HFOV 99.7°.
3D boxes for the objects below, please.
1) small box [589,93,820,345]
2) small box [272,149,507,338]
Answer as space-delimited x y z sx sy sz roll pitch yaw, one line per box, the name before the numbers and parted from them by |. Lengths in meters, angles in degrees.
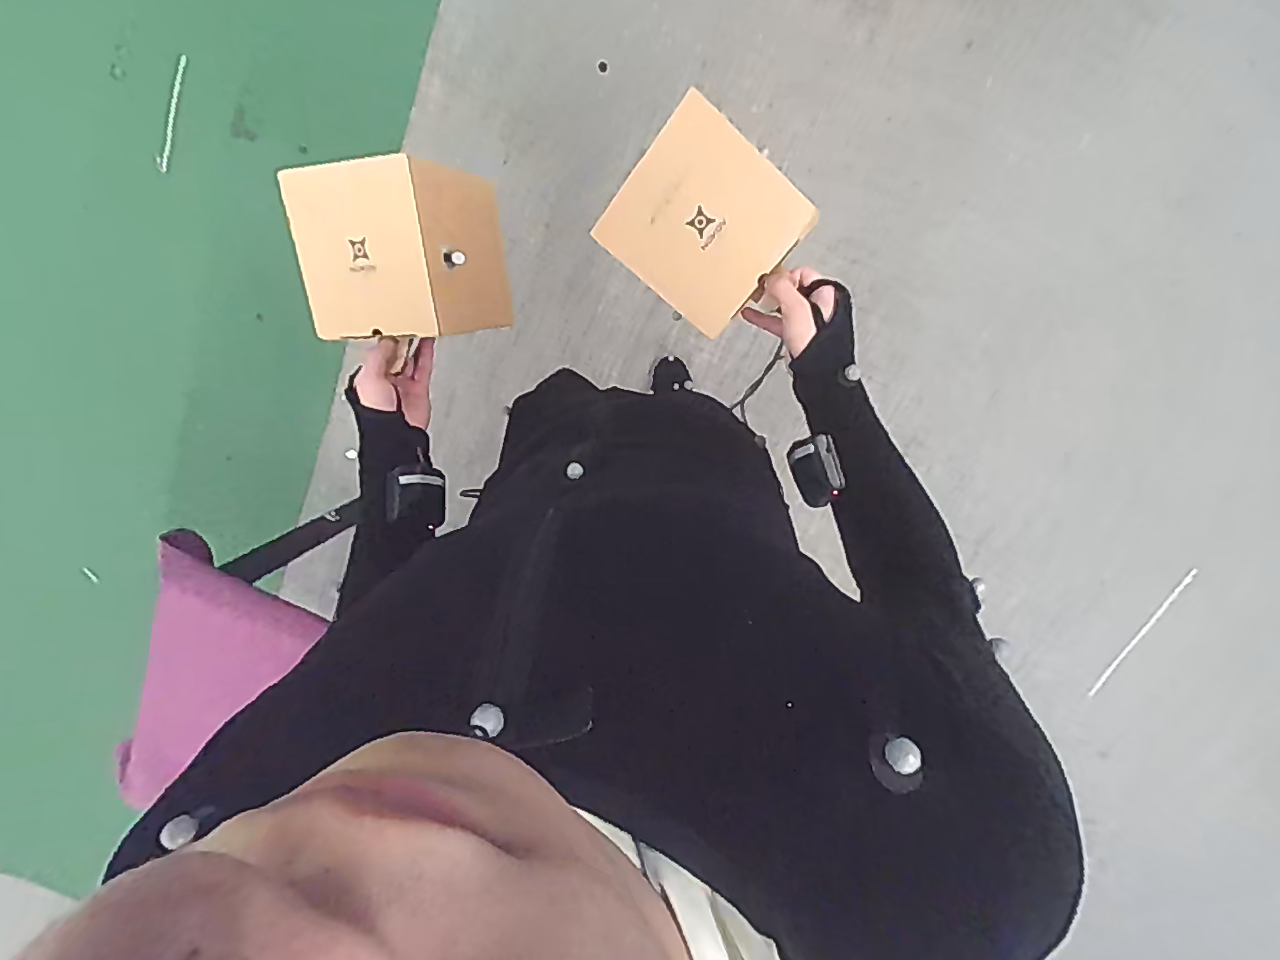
small box | 0.069 -0.285 0.616 0.179 0.176 0.168 39 110 -13
small box | -0.274 -0.265 0.633 0.168 0.176 0.179 3 112 15
